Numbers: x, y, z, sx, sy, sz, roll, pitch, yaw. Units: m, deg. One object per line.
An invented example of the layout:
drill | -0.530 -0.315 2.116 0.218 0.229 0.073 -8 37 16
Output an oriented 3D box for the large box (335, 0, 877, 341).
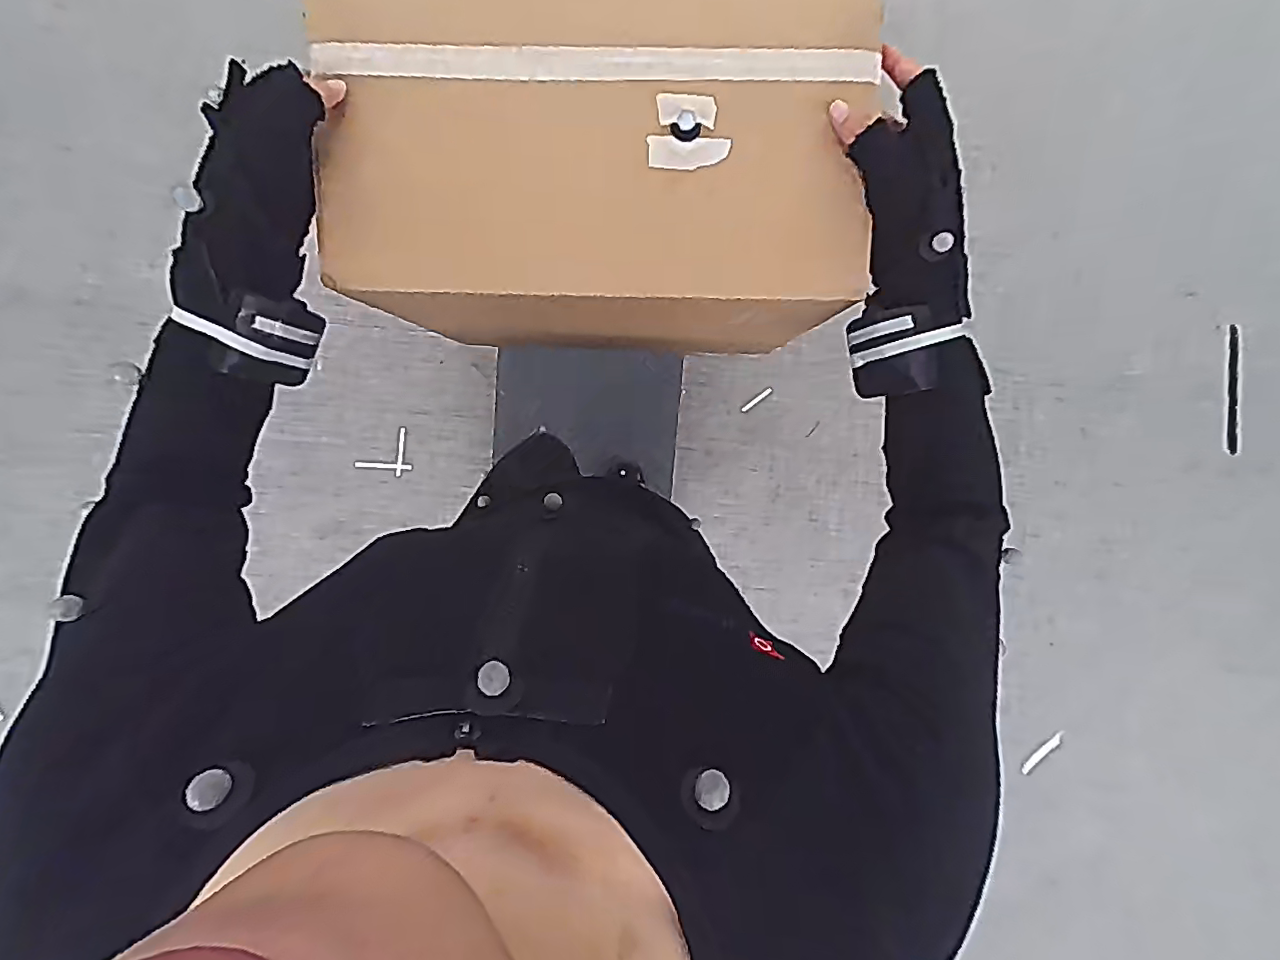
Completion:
large box | -0.028 -0.321 0.546 0.408 0.320 0.320 1 97 0
